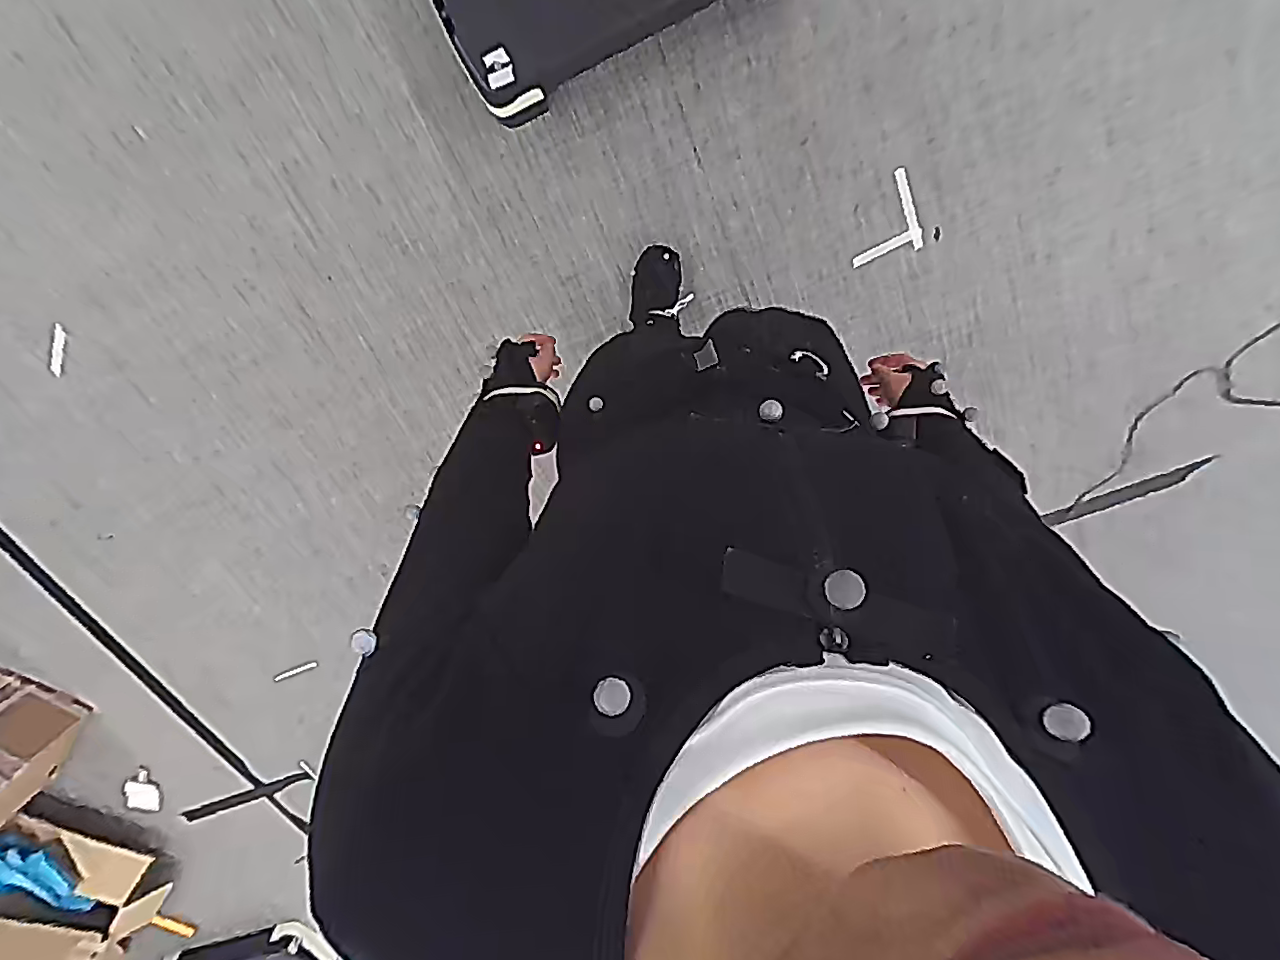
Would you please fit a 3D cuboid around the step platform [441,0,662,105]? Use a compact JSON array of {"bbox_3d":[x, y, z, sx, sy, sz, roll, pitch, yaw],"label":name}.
[{"bbox_3d":[-0.027,-0.950,0.917,0.684,0.204,0.286,-22,111,9],"label":"step platform"}]
